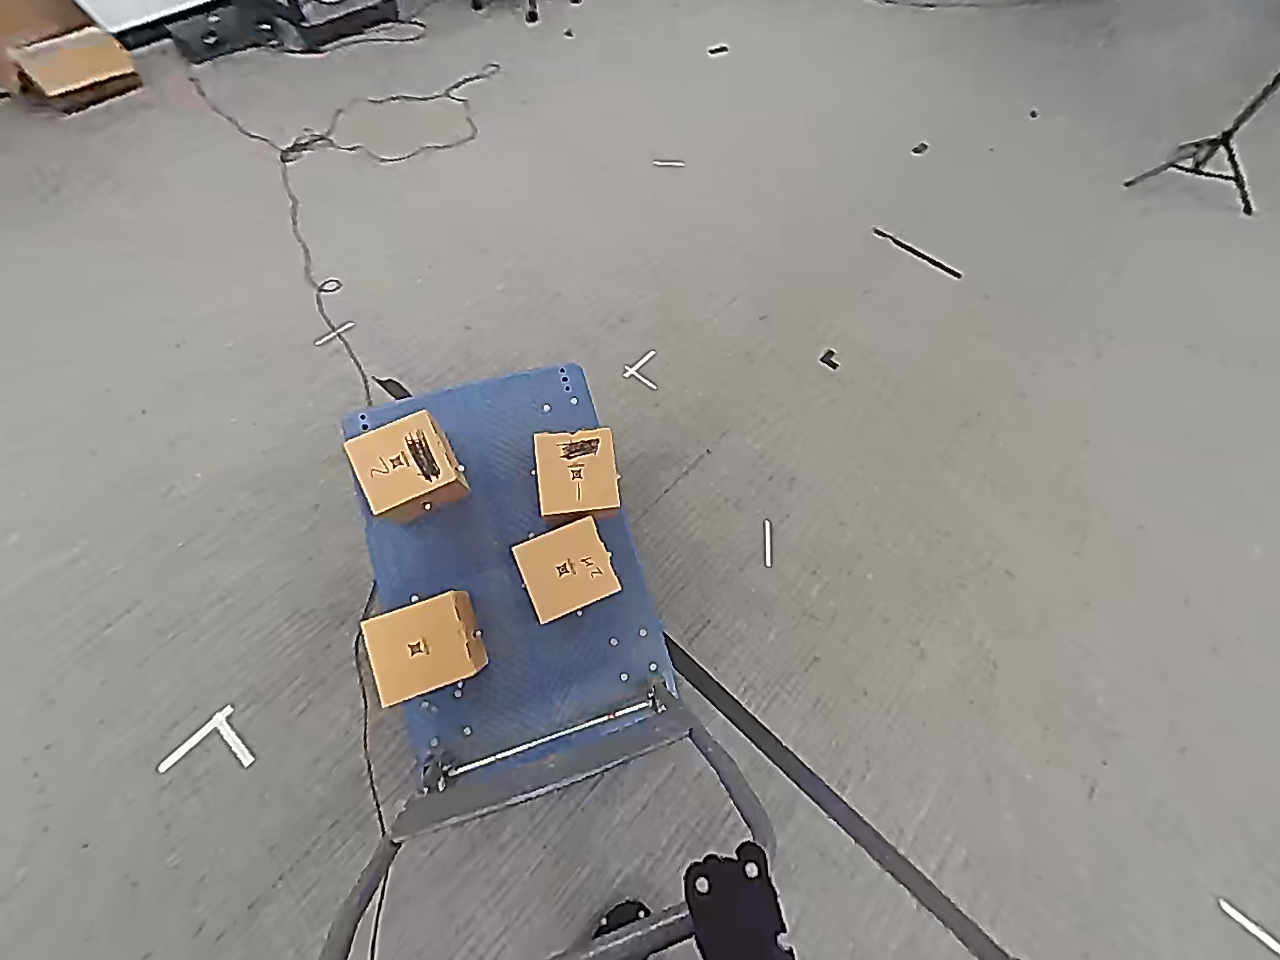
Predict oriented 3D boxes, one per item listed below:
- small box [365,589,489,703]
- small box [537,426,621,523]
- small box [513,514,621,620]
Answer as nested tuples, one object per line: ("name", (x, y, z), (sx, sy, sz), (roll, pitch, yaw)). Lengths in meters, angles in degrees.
("small box", (-0.425, 0.331, 1.102), (0.179, 0.176, 0.168), (-18, 81, -12))
("small box", (-0.138, -0.008, 1.207), (0.168, 0.176, 0.179), (-6, 80, -8))
("small box", (-0.153, 0.190, 1.164), (0.179, 0.176, 0.168), (-22, 82, -10))
